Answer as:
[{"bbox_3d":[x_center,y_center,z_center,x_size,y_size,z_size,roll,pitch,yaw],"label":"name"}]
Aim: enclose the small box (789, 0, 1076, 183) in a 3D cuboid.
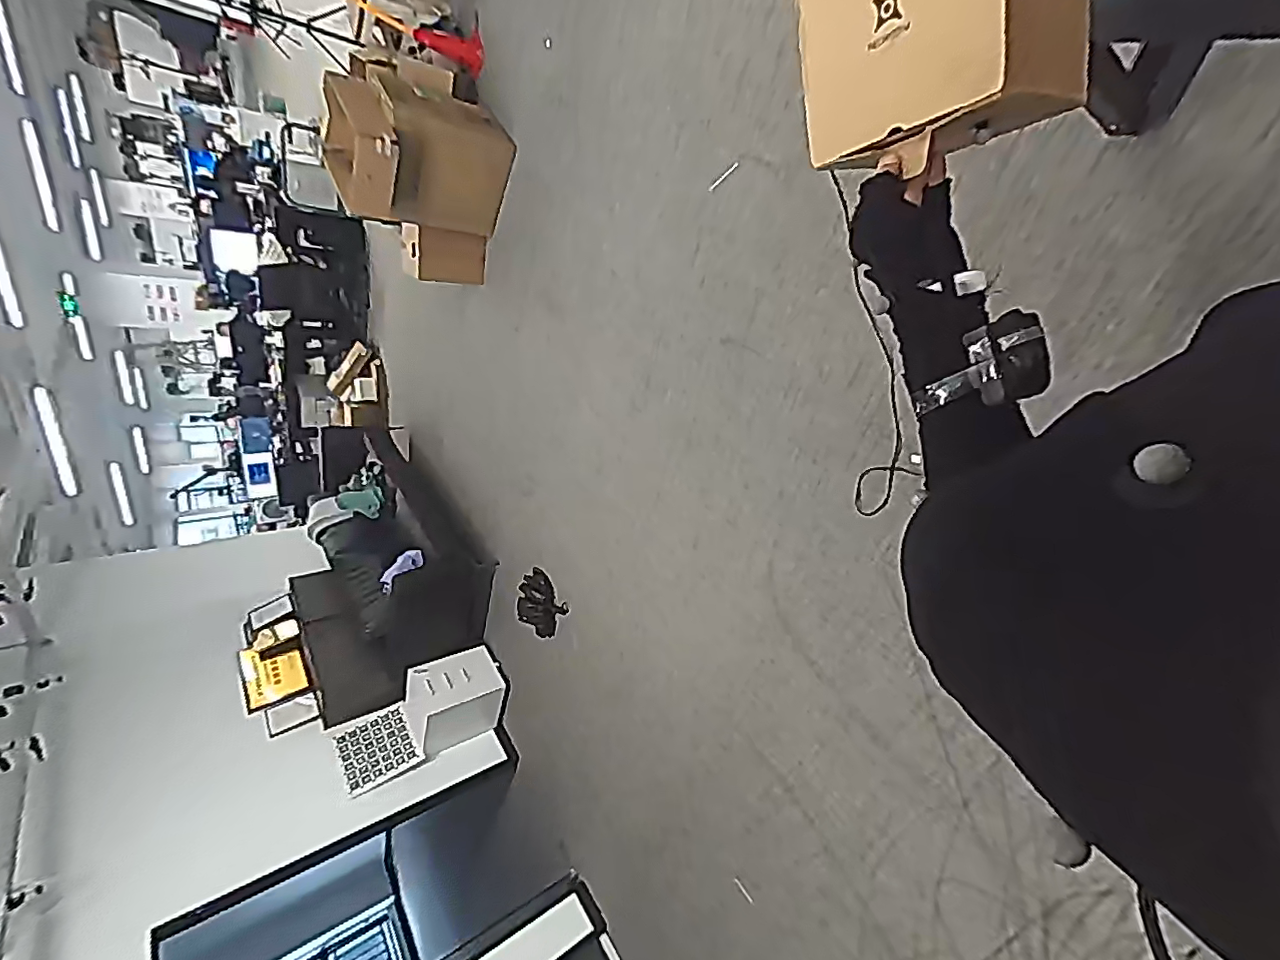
[{"bbox_3d":[0.255,-0.379,0.471,0.168,0.176,0.179,10,116,52],"label":"small box"}]
